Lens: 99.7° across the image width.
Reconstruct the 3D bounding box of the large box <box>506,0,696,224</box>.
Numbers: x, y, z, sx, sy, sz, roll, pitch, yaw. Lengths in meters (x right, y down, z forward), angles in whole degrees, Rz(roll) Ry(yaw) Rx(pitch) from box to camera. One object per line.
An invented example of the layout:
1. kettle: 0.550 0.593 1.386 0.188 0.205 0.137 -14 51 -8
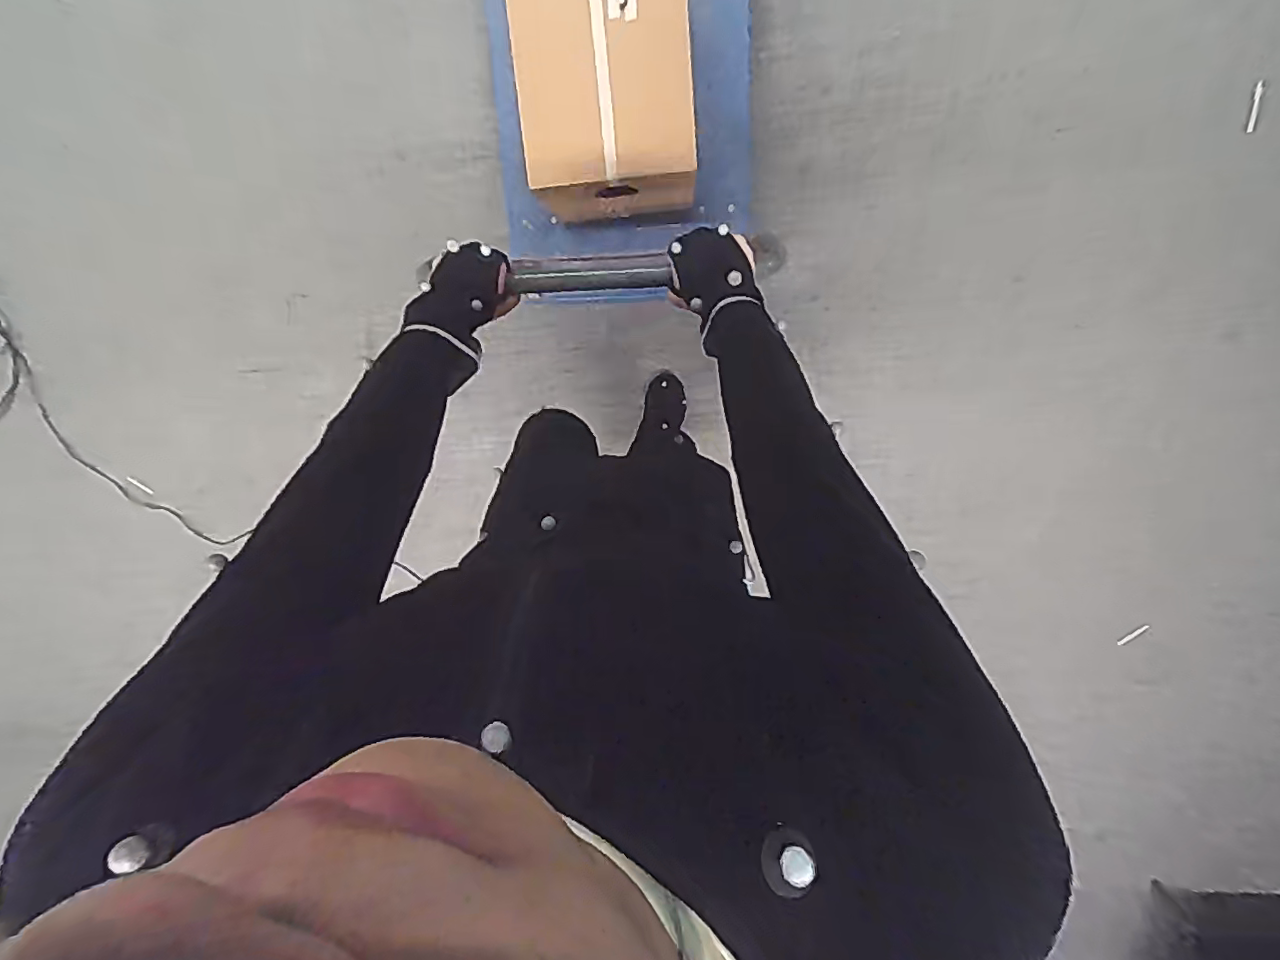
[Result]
1. large box: -0.058 -0.779 1.094 0.320 0.320 0.408 -4 105 5
